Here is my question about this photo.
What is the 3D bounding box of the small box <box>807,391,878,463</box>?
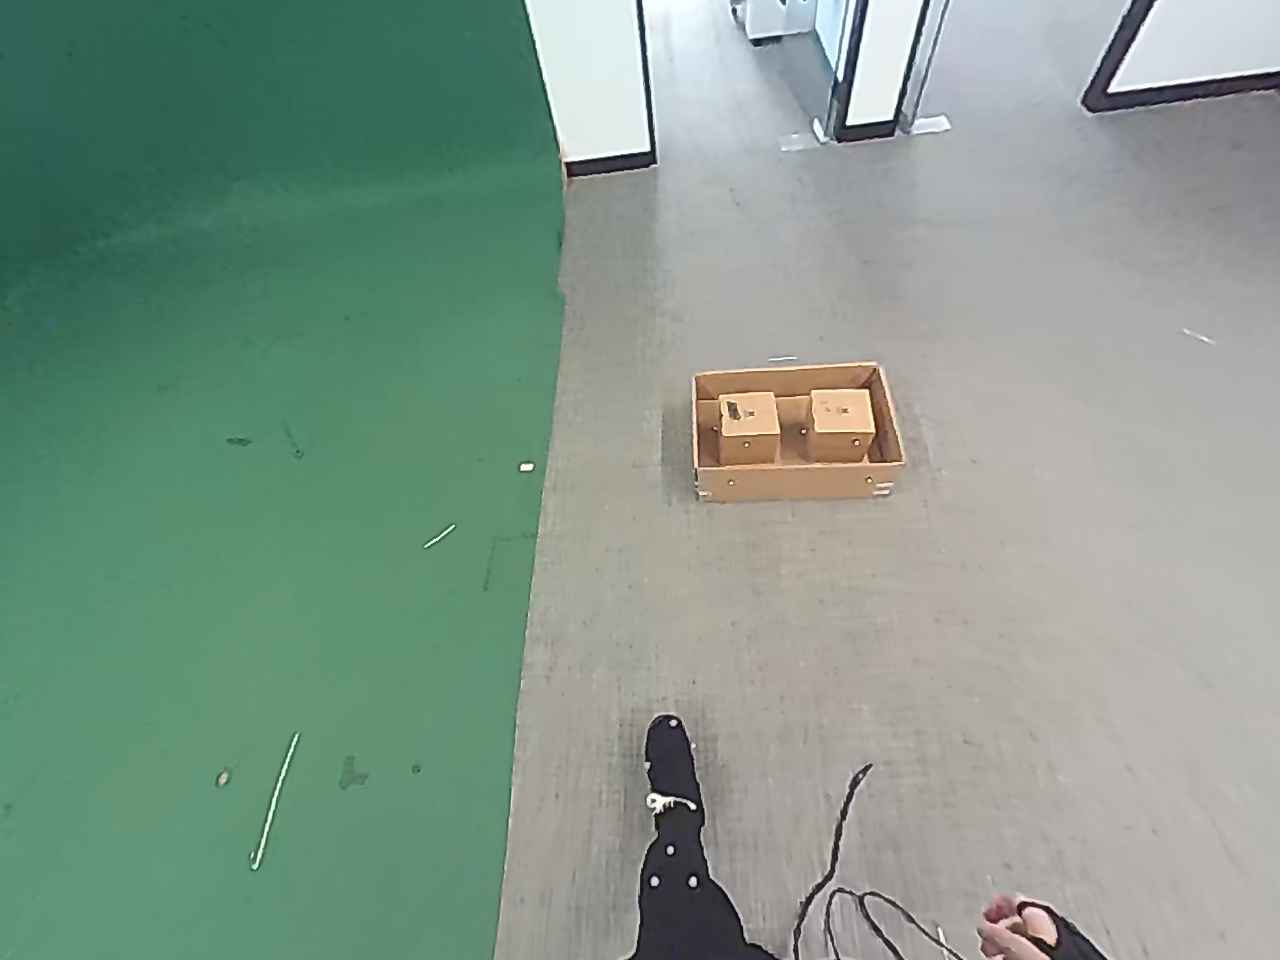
[{"bbox_3d":[0.633,-0.163,1.707,0.179,0.176,0.168,0,59,10],"label":"small box"}]
